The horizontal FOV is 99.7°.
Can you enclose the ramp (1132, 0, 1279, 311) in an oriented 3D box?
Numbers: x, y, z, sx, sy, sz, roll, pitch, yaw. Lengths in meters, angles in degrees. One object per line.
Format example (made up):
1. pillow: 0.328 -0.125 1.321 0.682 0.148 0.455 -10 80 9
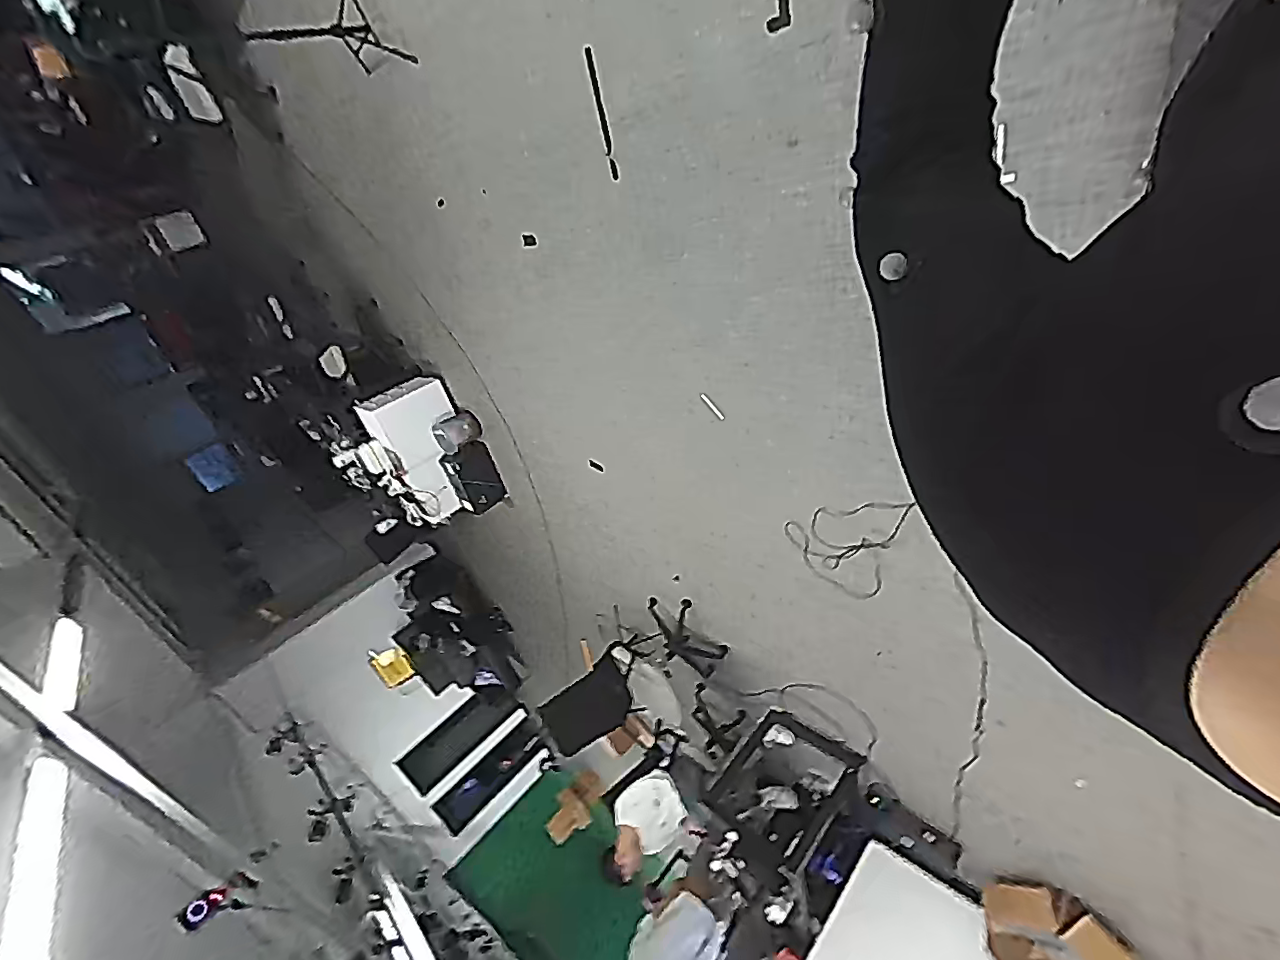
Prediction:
1. ramp: 1.089 -0.697 0.763 0.509 0.206 0.991 13 132 44
